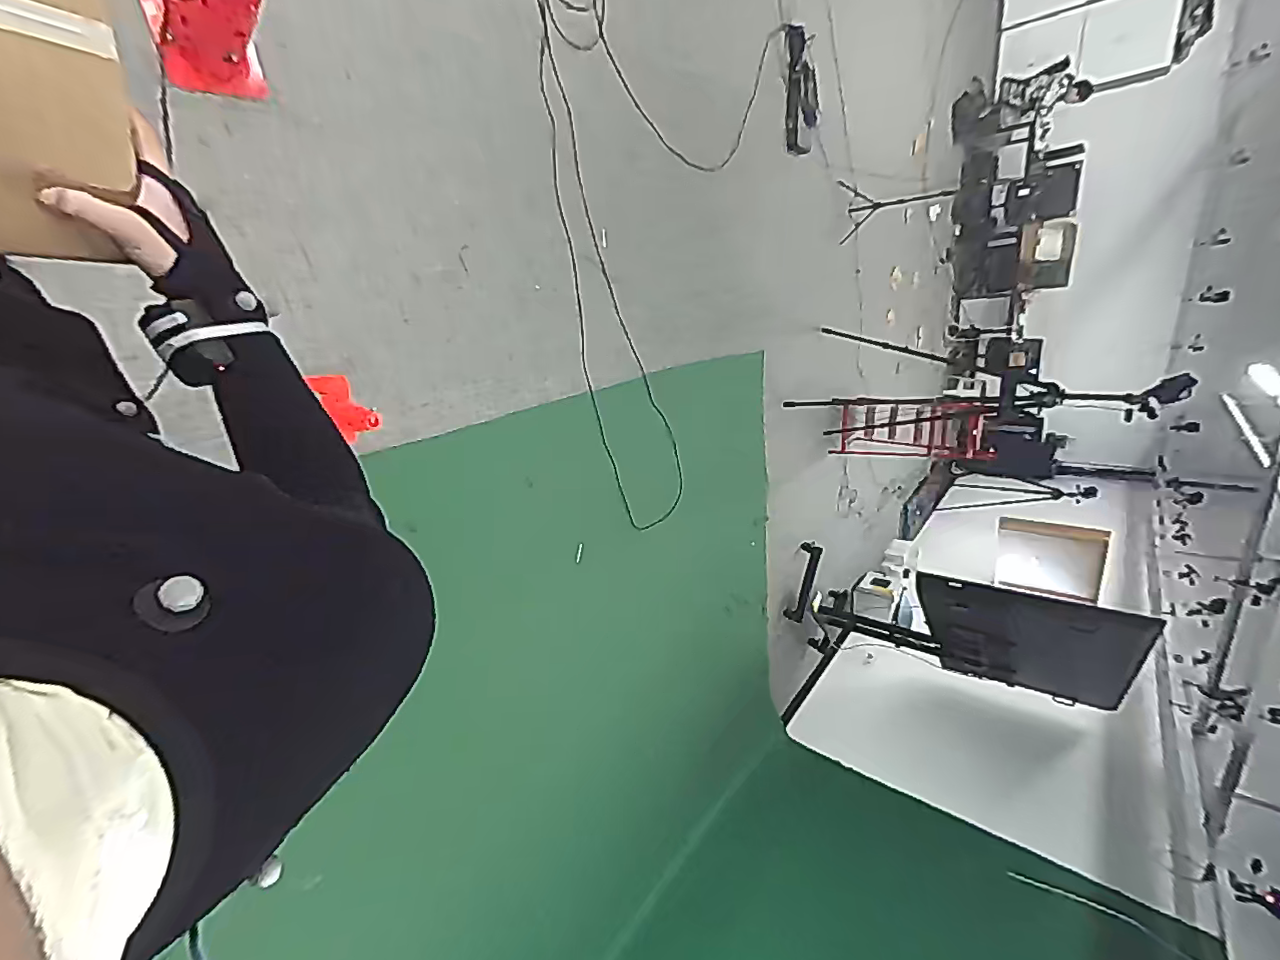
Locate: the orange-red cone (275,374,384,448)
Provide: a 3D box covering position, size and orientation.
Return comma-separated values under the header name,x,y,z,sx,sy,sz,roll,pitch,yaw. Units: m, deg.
name,x,y,z,sx,sy,sz,roll,pitch,yaw
orange-red cone,-0.770,-0.171,1.411,0.199,0.360,0.198,-18,112,-50
